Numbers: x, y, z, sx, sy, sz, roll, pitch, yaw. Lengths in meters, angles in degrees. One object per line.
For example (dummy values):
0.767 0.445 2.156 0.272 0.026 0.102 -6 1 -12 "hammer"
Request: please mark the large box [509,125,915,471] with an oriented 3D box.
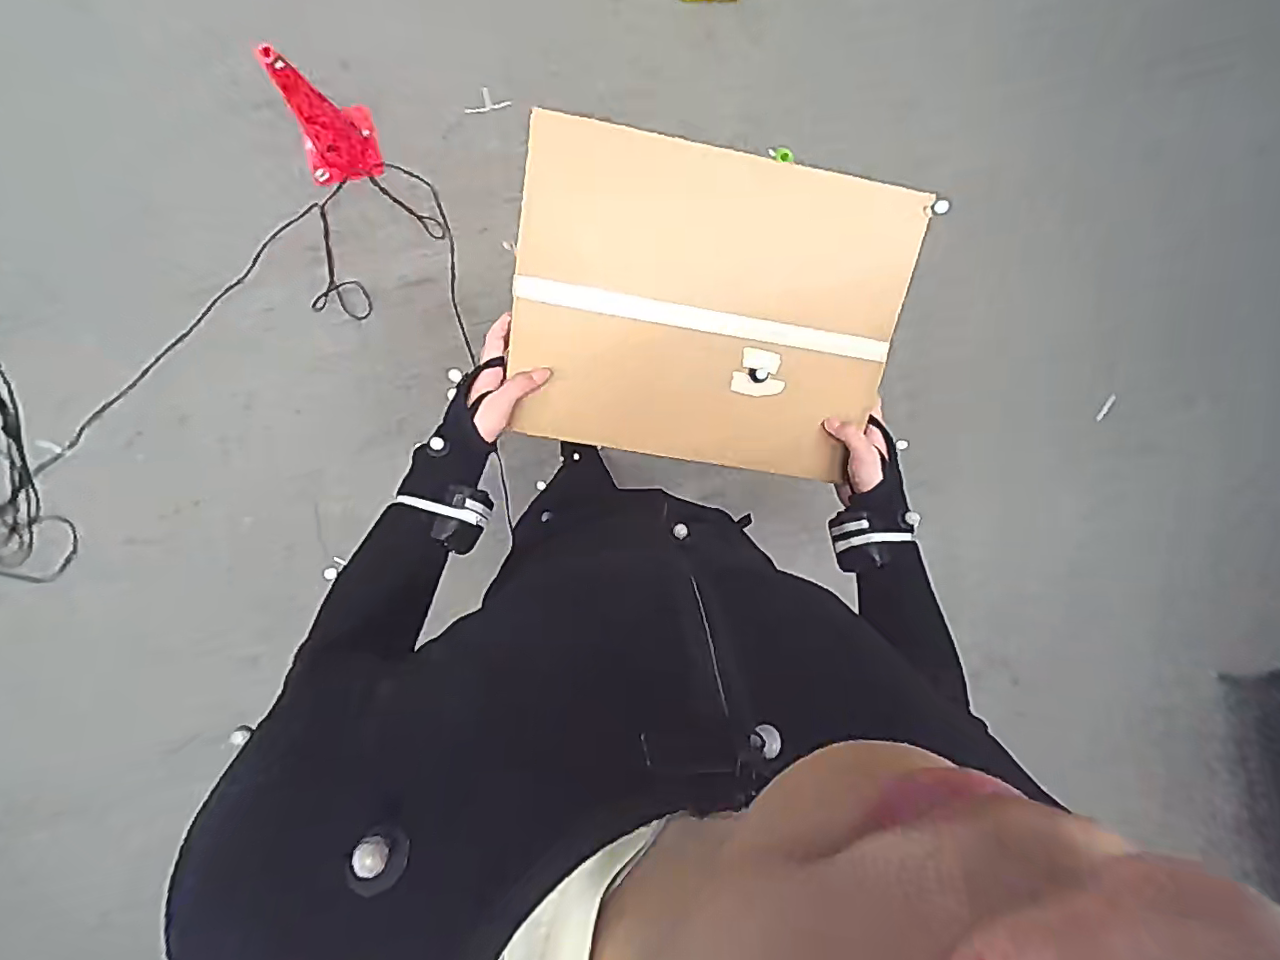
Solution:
0.057 -0.222 0.721 0.408 0.320 0.320 7 109 -6 "large box"
